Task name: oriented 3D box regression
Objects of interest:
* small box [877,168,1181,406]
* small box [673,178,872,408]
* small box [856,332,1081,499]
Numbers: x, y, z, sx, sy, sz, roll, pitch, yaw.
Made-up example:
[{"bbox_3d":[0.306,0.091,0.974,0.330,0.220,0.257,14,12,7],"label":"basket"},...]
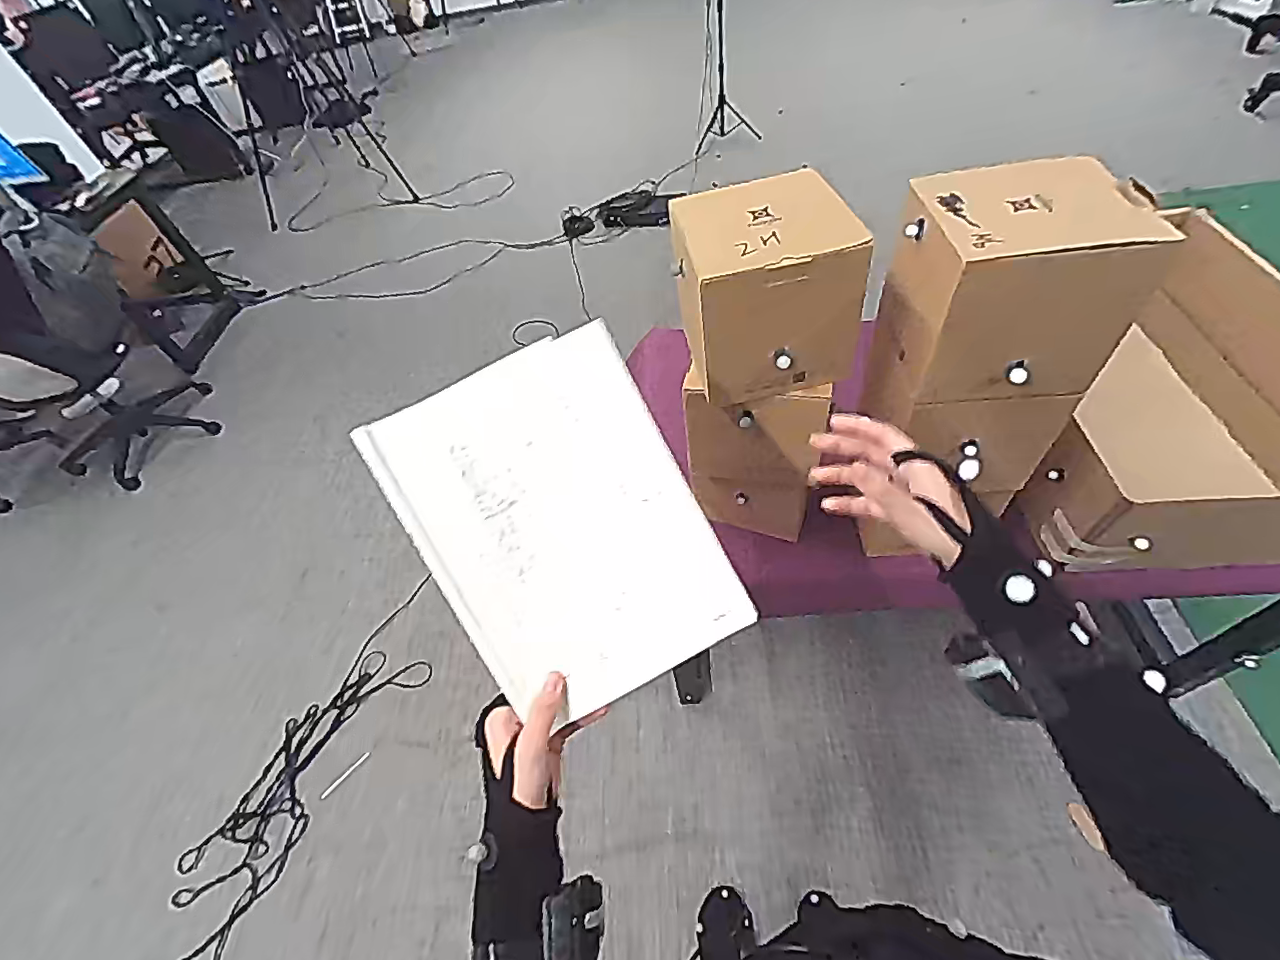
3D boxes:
[{"bbox_3d":[0.369,-0.193,0.560,0.179,0.176,0.168,-3,49,6],"label":"small box"},{"bbox_3d":[0.137,-0.210,0.617,0.168,0.176,0.179,-12,51,2],"label":"small box"},{"bbox_3d":[0.392,-0.090,0.686,0.179,0.176,0.168,-3,50,8],"label":"small box"}]
